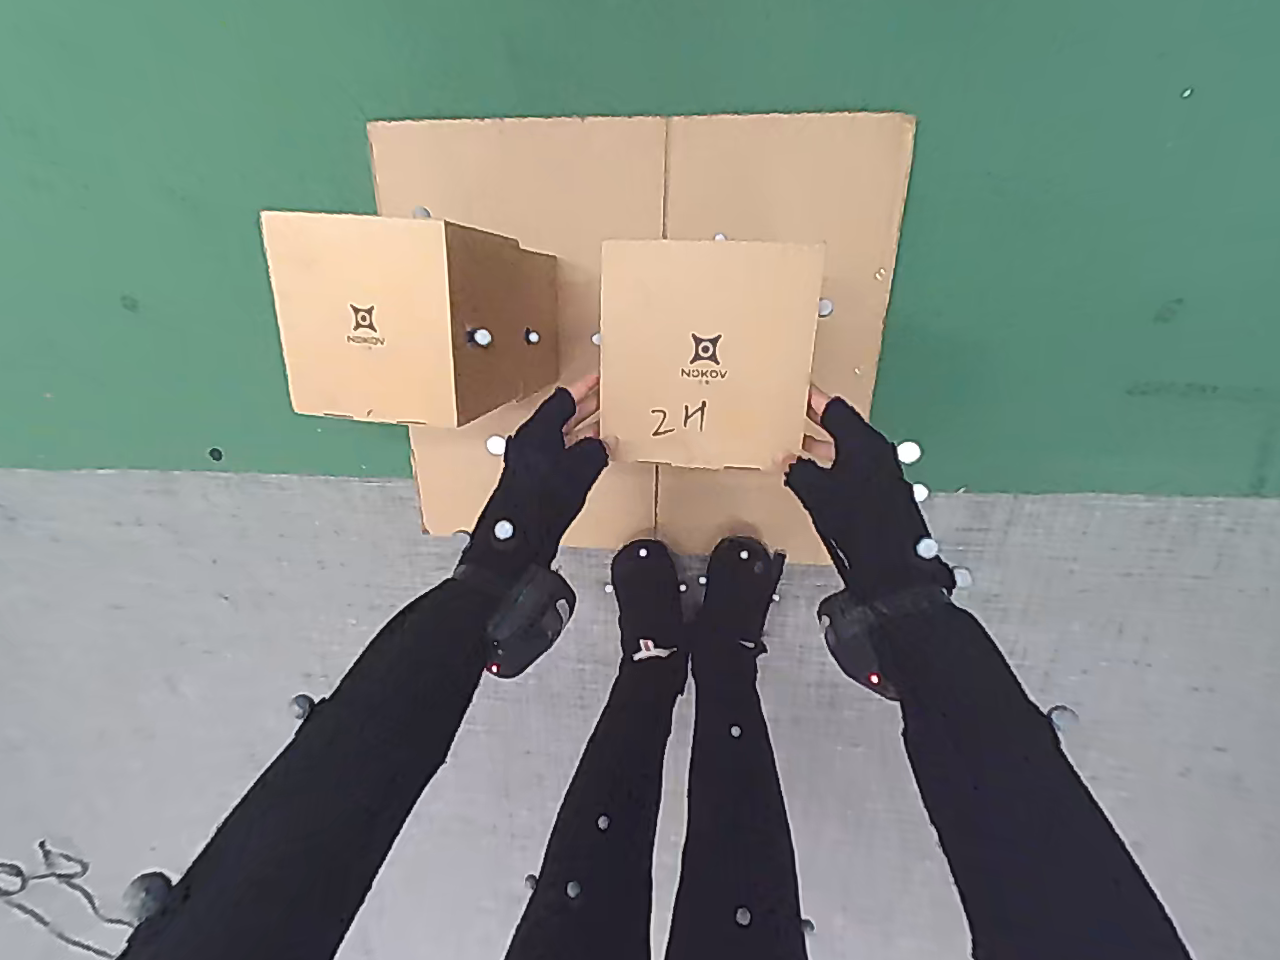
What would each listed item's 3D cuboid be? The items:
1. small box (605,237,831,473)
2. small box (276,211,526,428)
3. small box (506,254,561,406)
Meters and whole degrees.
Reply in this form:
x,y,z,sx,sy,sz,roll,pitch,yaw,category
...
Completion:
x,y,z,sx,sy,sz,roll,pitch,yaw,category
0.065,-0.116,0.501,0.168,0.176,0.179,5,107,7,small box
-0.222,-0.163,0.550,0.168,0.176,0.179,6,110,7,small box
-0.204,-0.203,0.708,0.168,0.176,0.179,5,109,8,small box
